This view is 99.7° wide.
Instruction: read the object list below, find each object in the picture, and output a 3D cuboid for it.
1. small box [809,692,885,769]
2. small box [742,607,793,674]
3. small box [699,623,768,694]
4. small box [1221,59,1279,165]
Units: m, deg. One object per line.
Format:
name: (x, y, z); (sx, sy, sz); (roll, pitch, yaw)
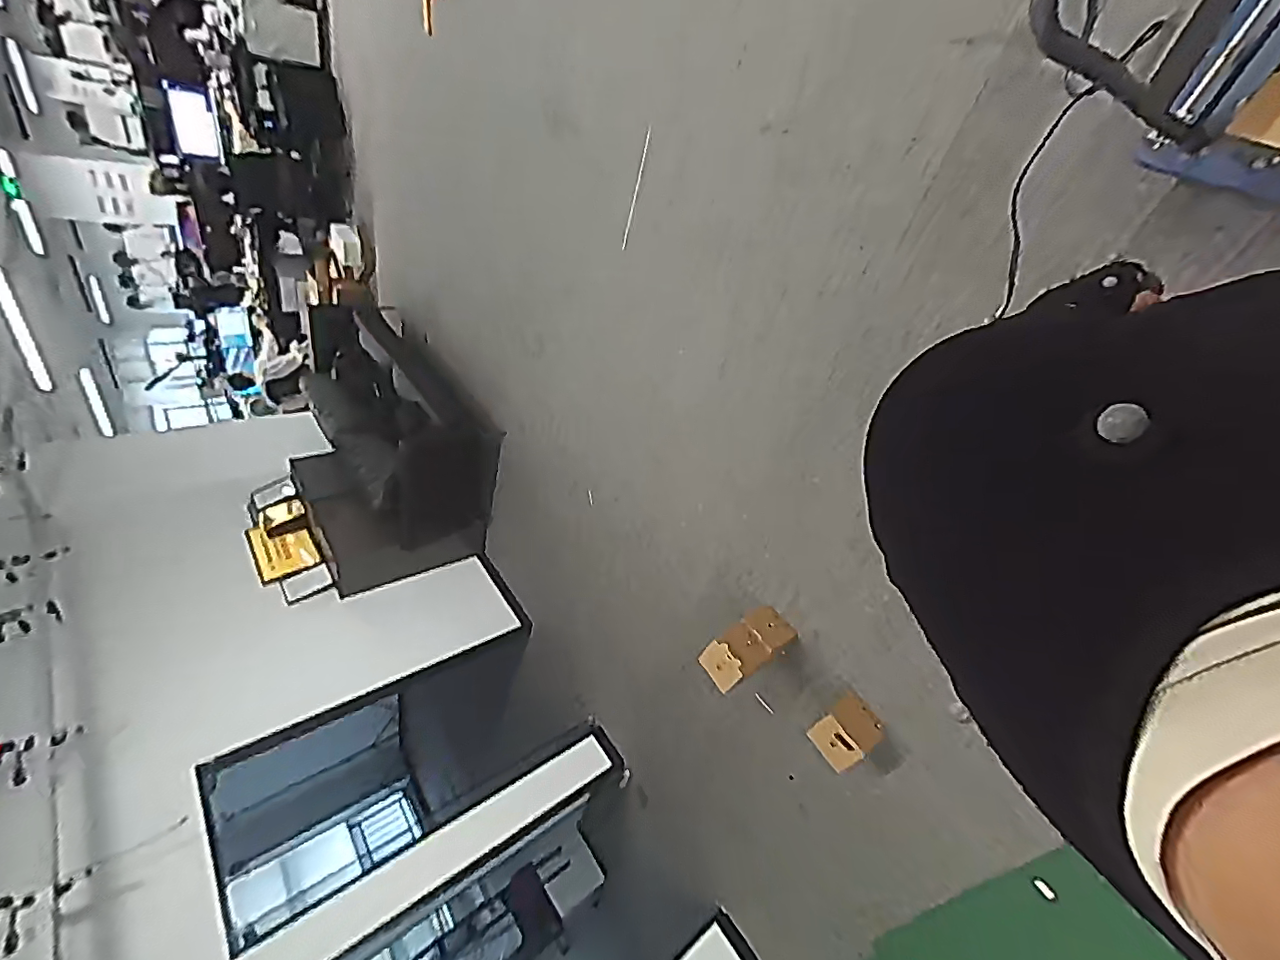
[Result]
small box: (0.766, 0.914, 1.981); (0.168, 0.176, 0.179); (50, 137, 29)
small box: (0.493, 0.646, 2.194); (0.168, 0.176, 0.179); (47, 134, 30)
small box: (0.365, 0.689, 2.098); (0.168, 0.176, 0.179); (50, 136, 26)
small box: (1.047, -0.570, 0.810); (0.179, 0.176, 0.168); (47, 135, 29)
